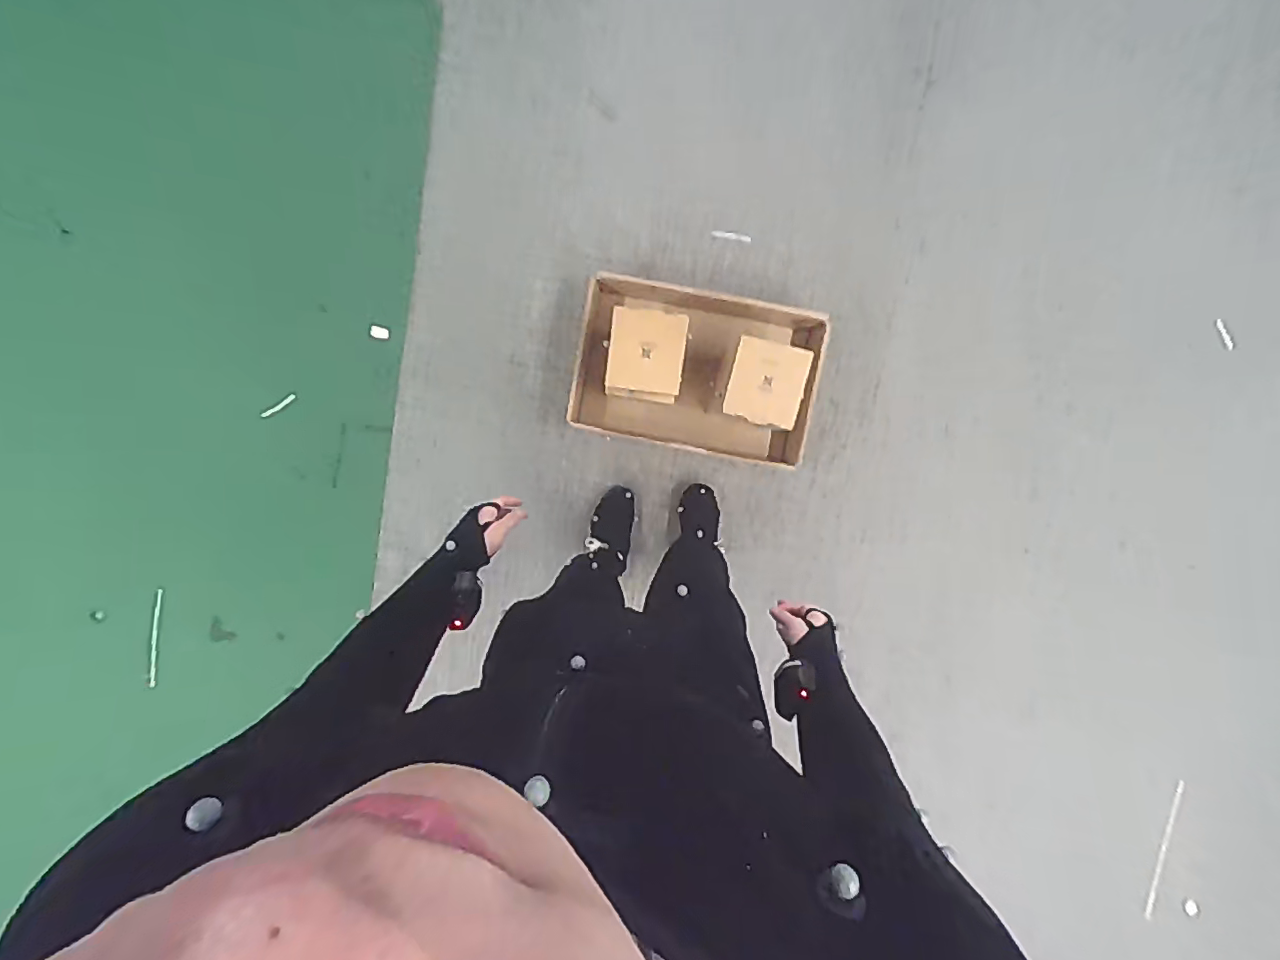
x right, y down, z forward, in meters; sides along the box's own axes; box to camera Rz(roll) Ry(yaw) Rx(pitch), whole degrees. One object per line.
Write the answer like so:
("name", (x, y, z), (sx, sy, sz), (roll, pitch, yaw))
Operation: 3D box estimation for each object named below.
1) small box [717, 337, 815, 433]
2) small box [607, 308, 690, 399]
("small box", (0.284, -0.216, 1.261), (0.168, 0.176, 0.179), (15, 96, -1))
("small box", (0.020, -0.286, 1.262), (0.168, 0.176, 0.179), (7, 95, 0))
